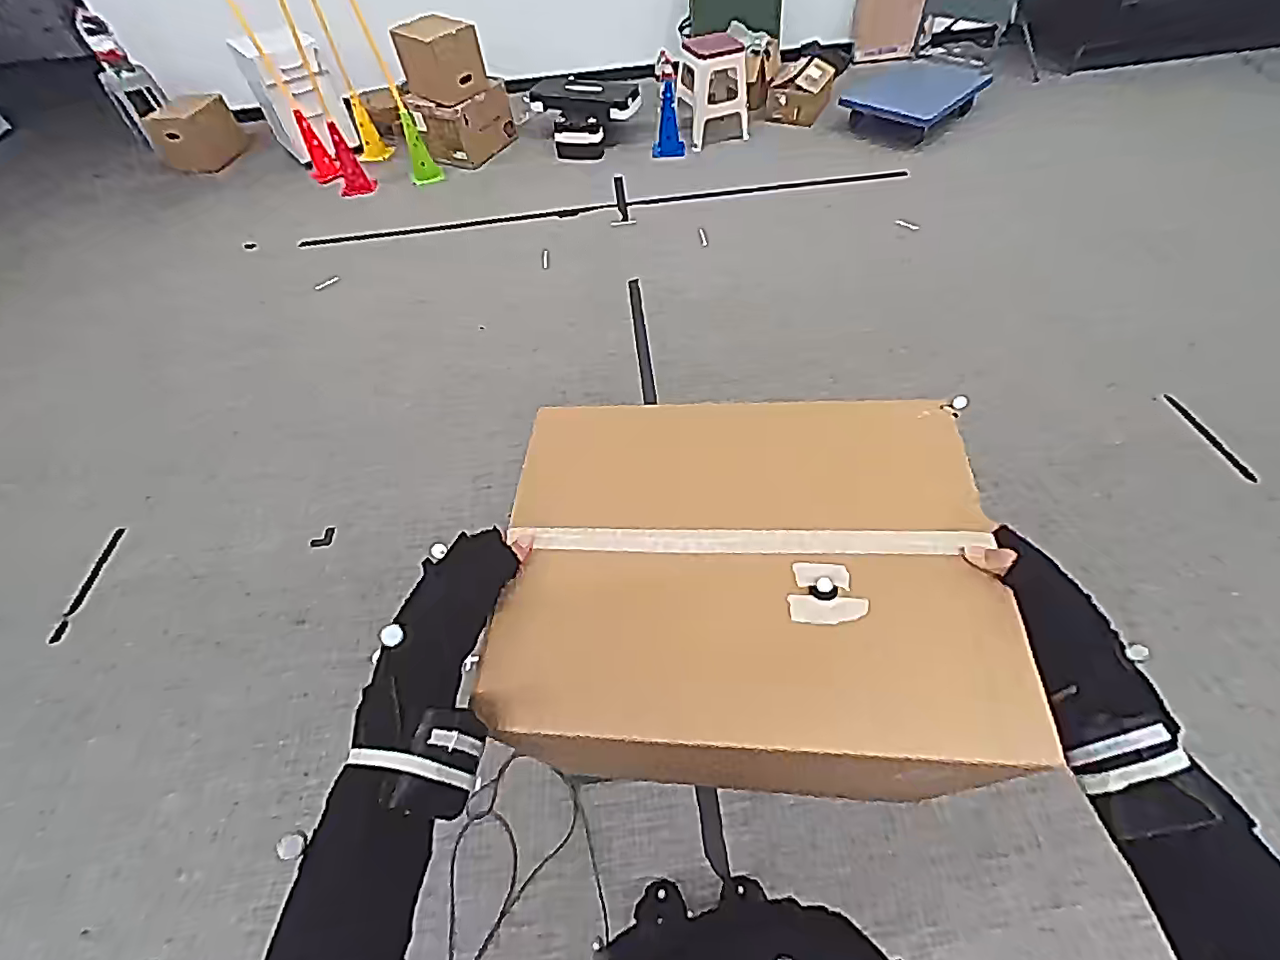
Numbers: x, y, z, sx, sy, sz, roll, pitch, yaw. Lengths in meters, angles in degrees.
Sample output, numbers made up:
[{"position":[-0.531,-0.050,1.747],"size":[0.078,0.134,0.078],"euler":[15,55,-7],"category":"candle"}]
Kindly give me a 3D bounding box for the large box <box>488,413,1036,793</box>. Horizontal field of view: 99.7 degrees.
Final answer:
[{"position":[0.100,0.148,0.597],"size":[0.408,0.320,0.320],"euler":[-1,56,8],"category":"large box"}]
